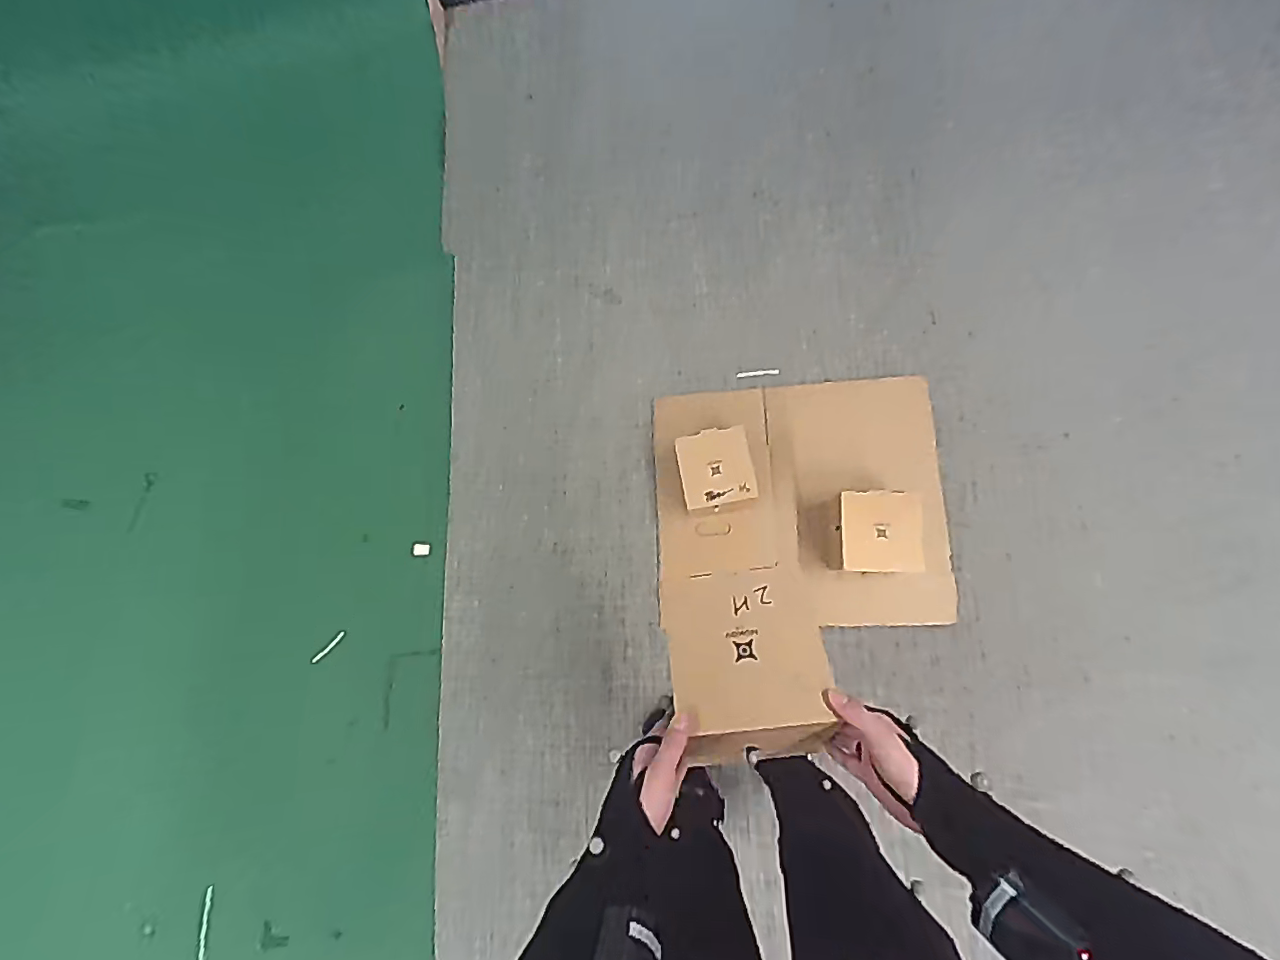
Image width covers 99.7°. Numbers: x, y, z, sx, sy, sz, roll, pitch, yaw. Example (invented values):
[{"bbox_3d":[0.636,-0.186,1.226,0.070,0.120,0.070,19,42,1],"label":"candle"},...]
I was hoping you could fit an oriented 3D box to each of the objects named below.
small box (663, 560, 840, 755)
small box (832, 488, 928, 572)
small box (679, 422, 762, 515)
[{"bbox_3d":[0.121,0.218,0.643,0.168,0.176,0.179,-6,53,2],"label":"small box"},{"bbox_3d":[0.534,0.118,1.221,0.168,0.176,0.179,0,79,10],"label":"small box"},{"bbox_3d":[0.192,-0.021,1.307,0.168,0.176,0.179,-11,78,8],"label":"small box"}]
